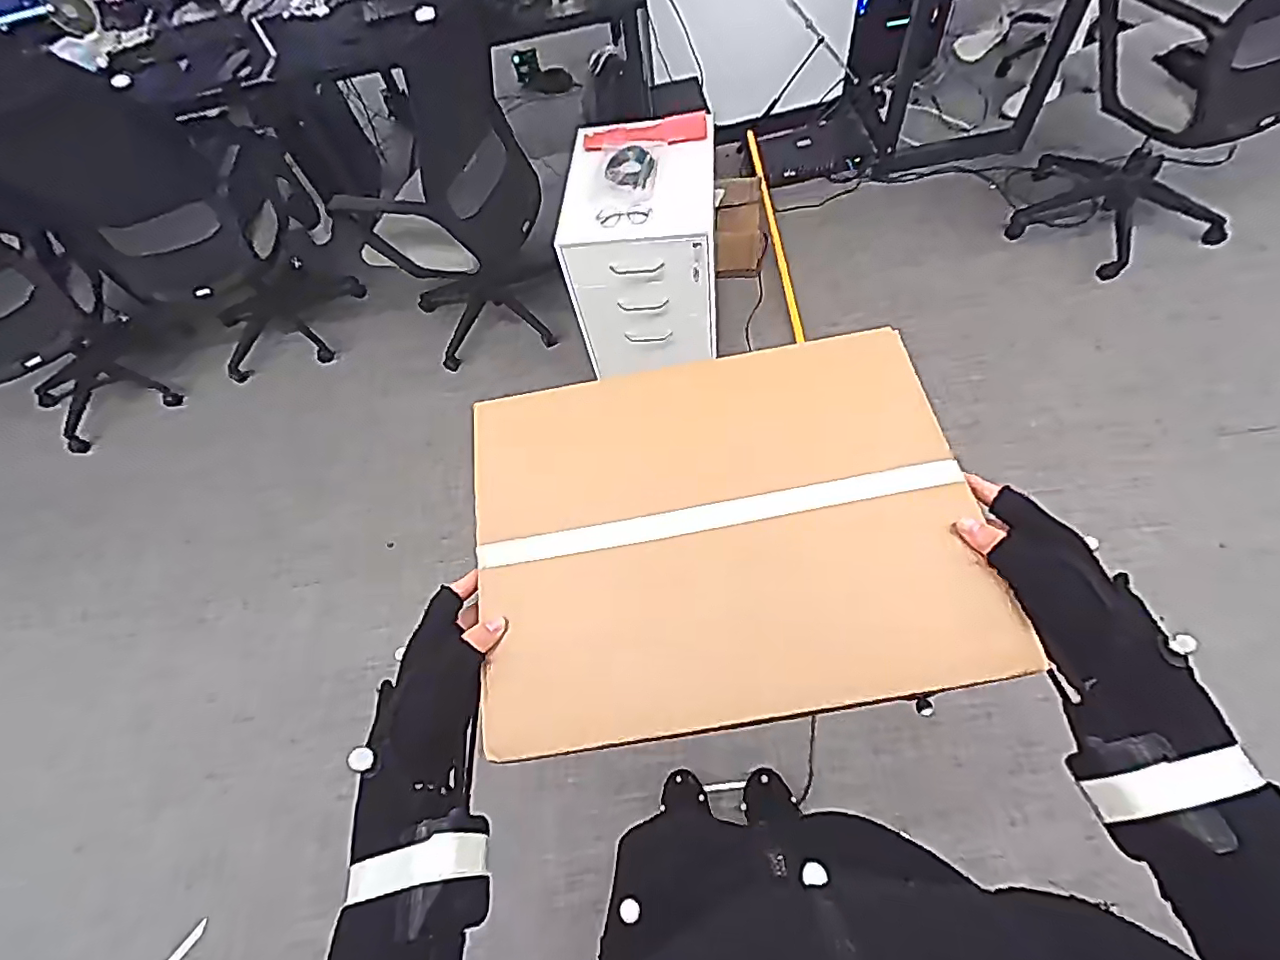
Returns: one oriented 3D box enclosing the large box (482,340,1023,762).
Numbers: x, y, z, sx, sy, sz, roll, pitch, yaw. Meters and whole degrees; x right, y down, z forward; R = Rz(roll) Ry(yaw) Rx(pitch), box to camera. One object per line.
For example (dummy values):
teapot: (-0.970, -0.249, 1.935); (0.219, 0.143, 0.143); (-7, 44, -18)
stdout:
large box: (0.079, 0.096, 0.593); (0.408, 0.320, 0.320); (-10, 64, 1)
